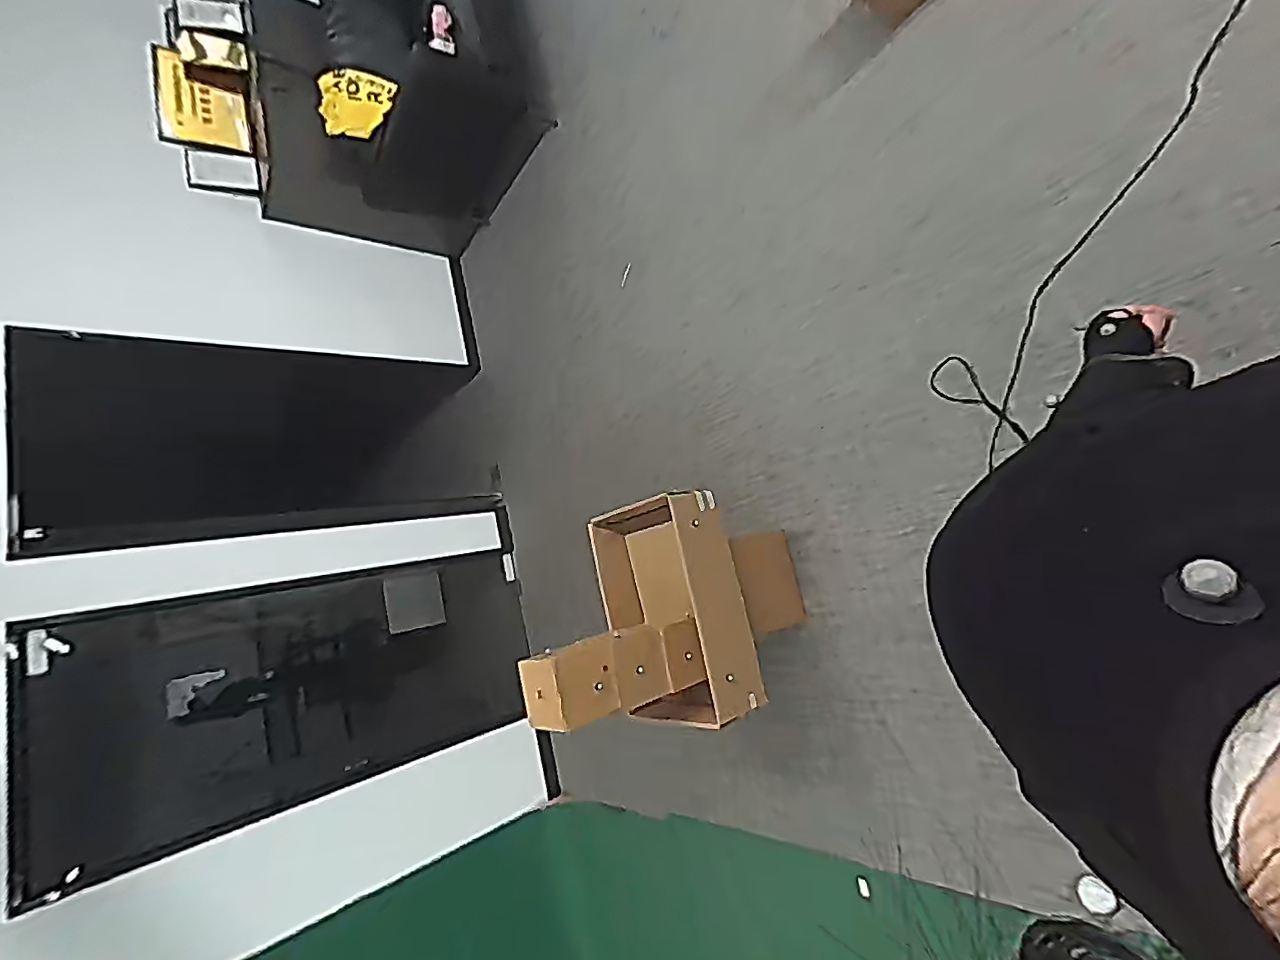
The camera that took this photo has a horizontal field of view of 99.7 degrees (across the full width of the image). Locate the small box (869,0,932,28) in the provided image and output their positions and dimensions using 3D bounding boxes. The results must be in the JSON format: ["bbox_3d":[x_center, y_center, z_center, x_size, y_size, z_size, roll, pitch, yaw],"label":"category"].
[{"bbox_3d":[0.681,-1.318,1.373,0.179,0.176,0.168,-26,73,48],"label":"small box"}]

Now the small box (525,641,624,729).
[{"bbox_3d":[-0.164,0.506,1.352,0.179,0.176,0.168,-25,74,48],"label":"small box"}]

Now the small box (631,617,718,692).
[{"bbox_3d":[0.099,0.491,1.544,0.168,0.176,0.179,-21,76,49],"label":"small box"}]
